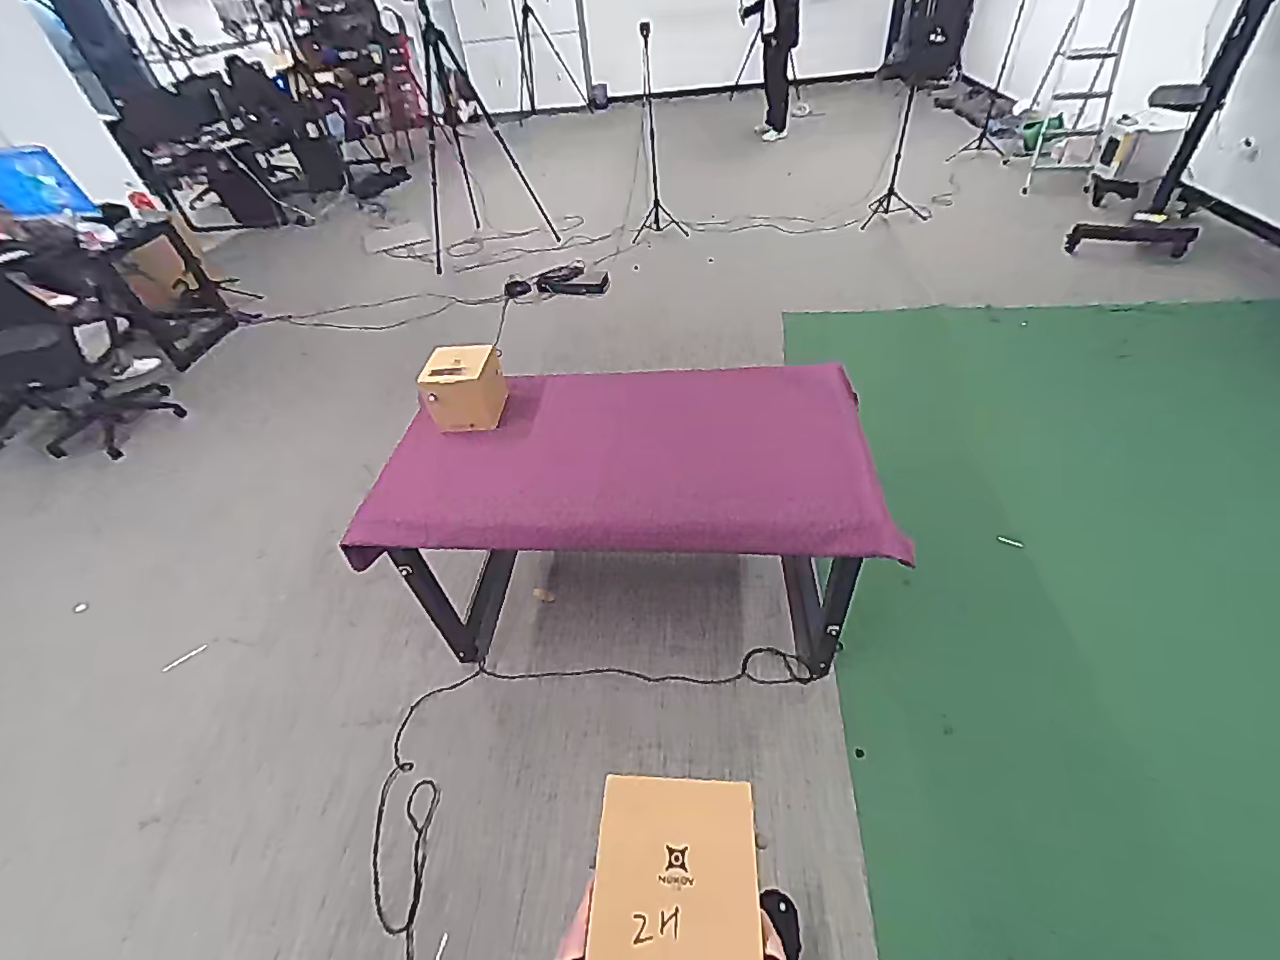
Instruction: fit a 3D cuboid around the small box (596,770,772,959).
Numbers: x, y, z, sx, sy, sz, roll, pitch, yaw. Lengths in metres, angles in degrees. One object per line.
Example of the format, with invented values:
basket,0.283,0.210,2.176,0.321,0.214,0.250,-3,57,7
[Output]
small box,0.049,0.450,0.610,0.168,0.176,0.179,-3,44,5
